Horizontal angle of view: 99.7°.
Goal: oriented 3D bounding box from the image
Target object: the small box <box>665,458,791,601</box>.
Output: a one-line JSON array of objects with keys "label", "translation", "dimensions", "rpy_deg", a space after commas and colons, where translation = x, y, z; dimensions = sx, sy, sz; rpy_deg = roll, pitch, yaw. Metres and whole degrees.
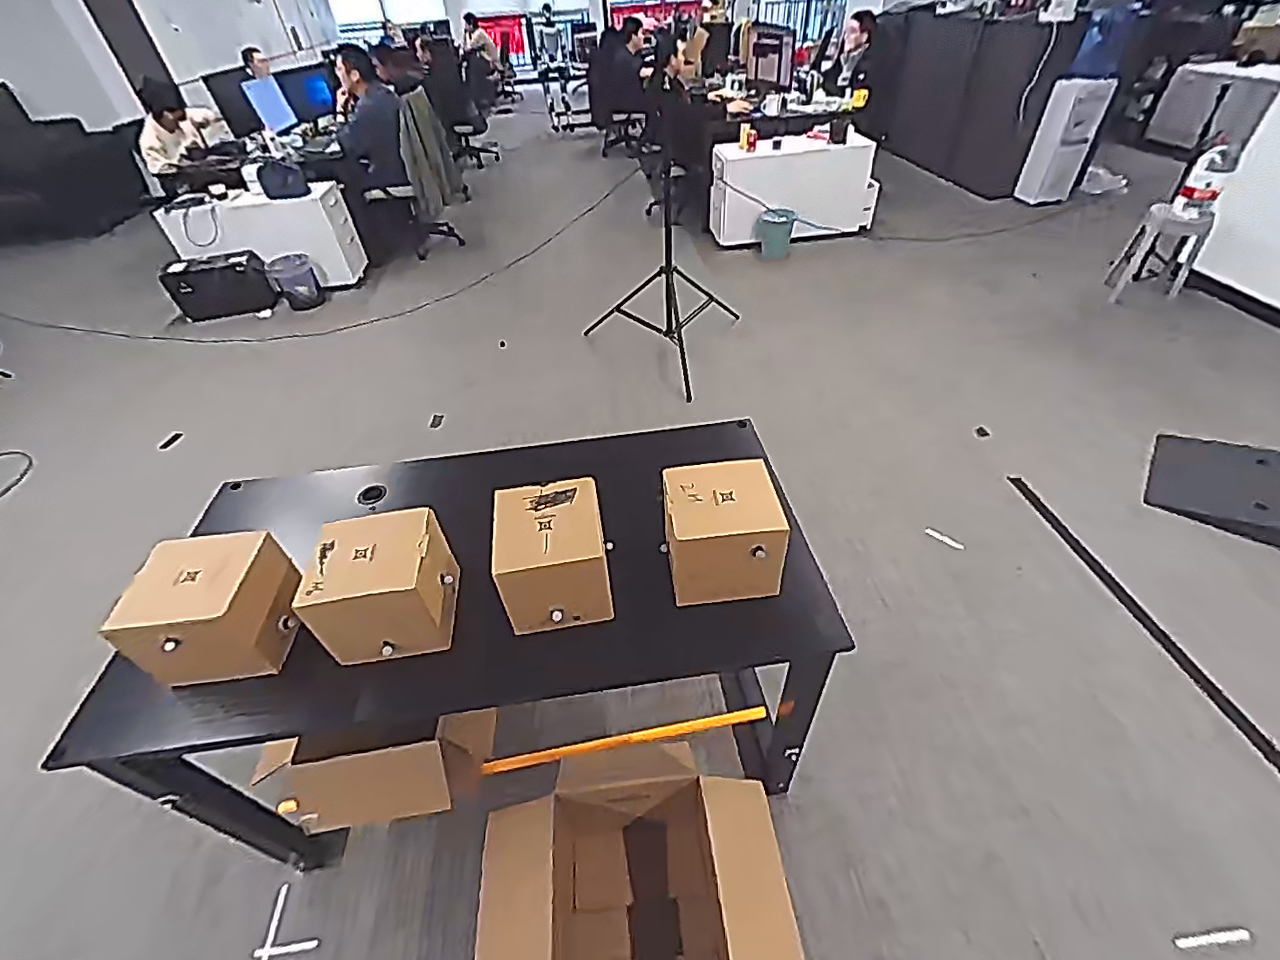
[{"label": "small box", "translation": [0.137, 0.085, 0.911], "dimensions": [0.179, 0.176, 0.168], "rpy_deg": [-6, 42, -1]}]

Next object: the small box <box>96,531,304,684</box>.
[{"label": "small box", "translation": [-0.667, 0.205, 0.857], "dimensions": [0.179, 0.176, 0.168], "rpy_deg": [-6, 44, -3]}]

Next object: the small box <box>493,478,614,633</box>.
[{"label": "small box", "translation": [-0.139, 0.124, 0.896], "dimensions": [0.168, 0.176, 0.179], "rpy_deg": [-9, 43, -4]}]

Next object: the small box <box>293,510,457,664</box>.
[{"label": "small box", "translation": [-0.406, 0.173, 0.869], "dimensions": [0.179, 0.176, 0.168], "rpy_deg": [-8, 43, -5]}]
